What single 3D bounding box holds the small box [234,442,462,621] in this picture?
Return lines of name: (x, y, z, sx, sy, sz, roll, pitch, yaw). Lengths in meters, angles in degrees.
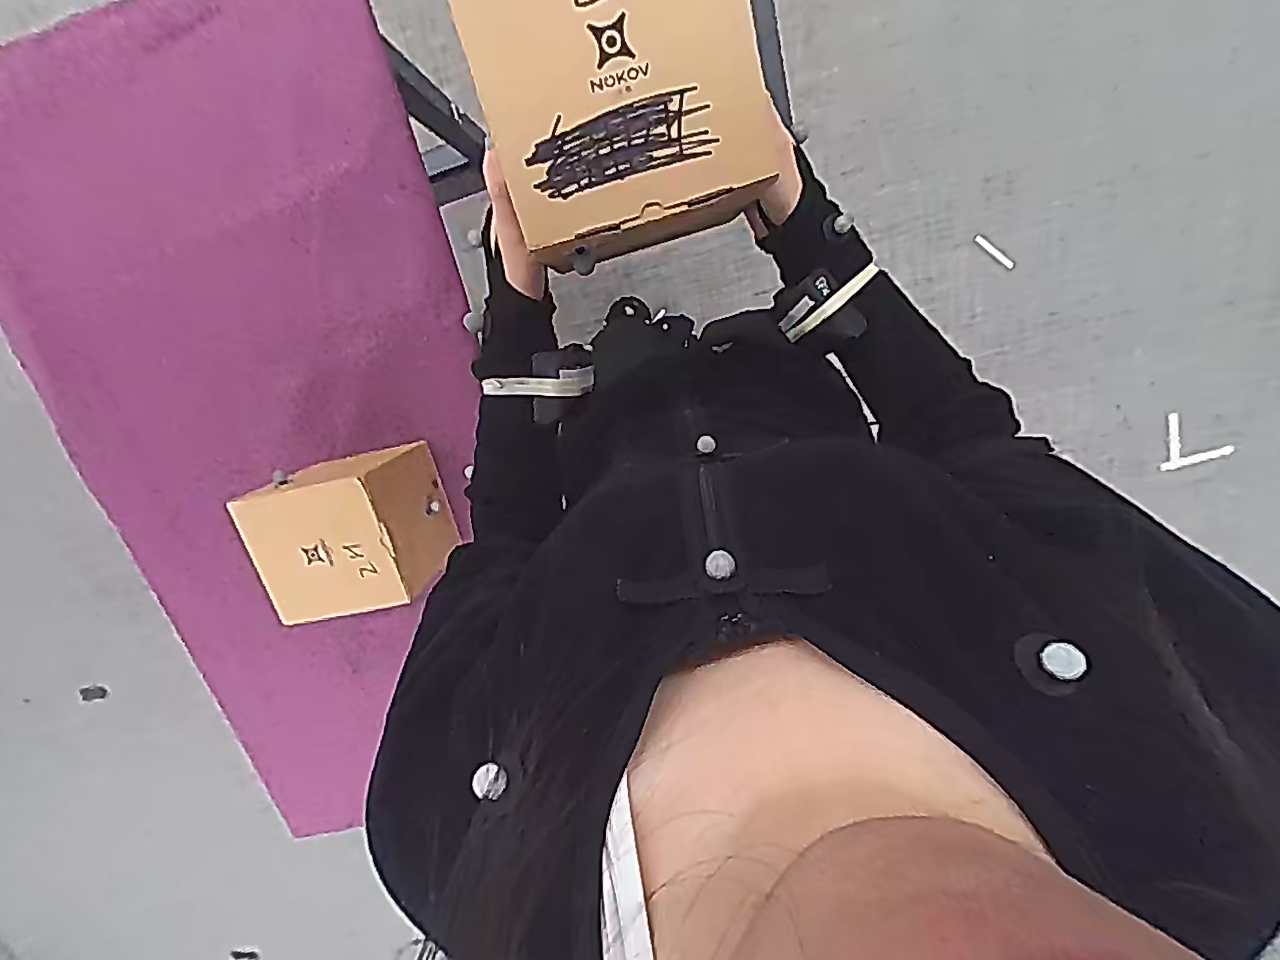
small box: (-0.366, 0.059, 0.713, 0.179, 0.176, 0.168, -12, 107, 7)
